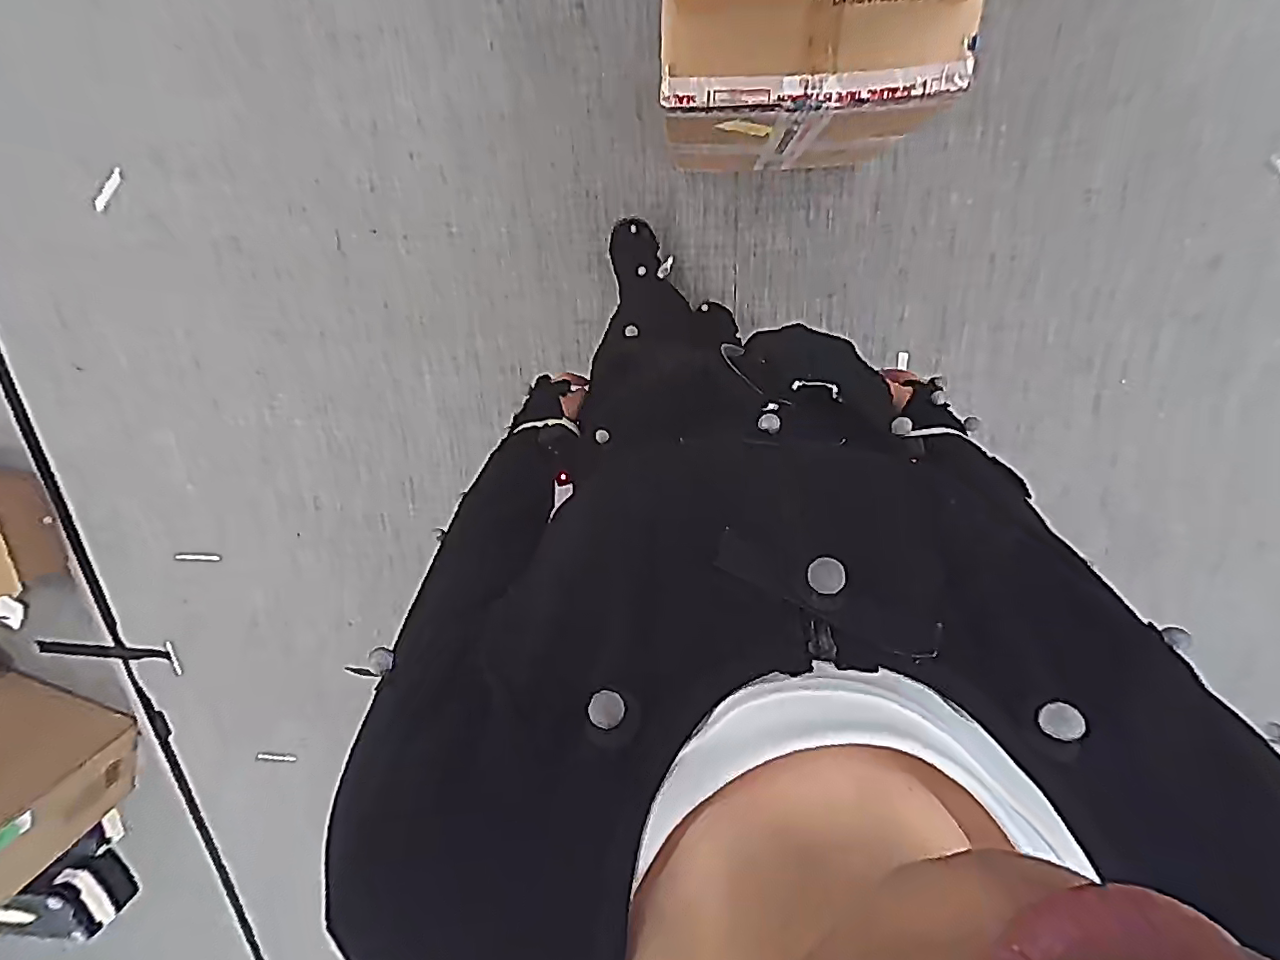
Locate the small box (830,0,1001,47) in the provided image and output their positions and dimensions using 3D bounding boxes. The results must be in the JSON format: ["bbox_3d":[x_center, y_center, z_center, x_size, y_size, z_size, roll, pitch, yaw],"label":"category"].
[{"bbox_3d":[0.320,-0.602,0.581,0.179,0.176,0.168,6,109,4],"label":"small box"}]
